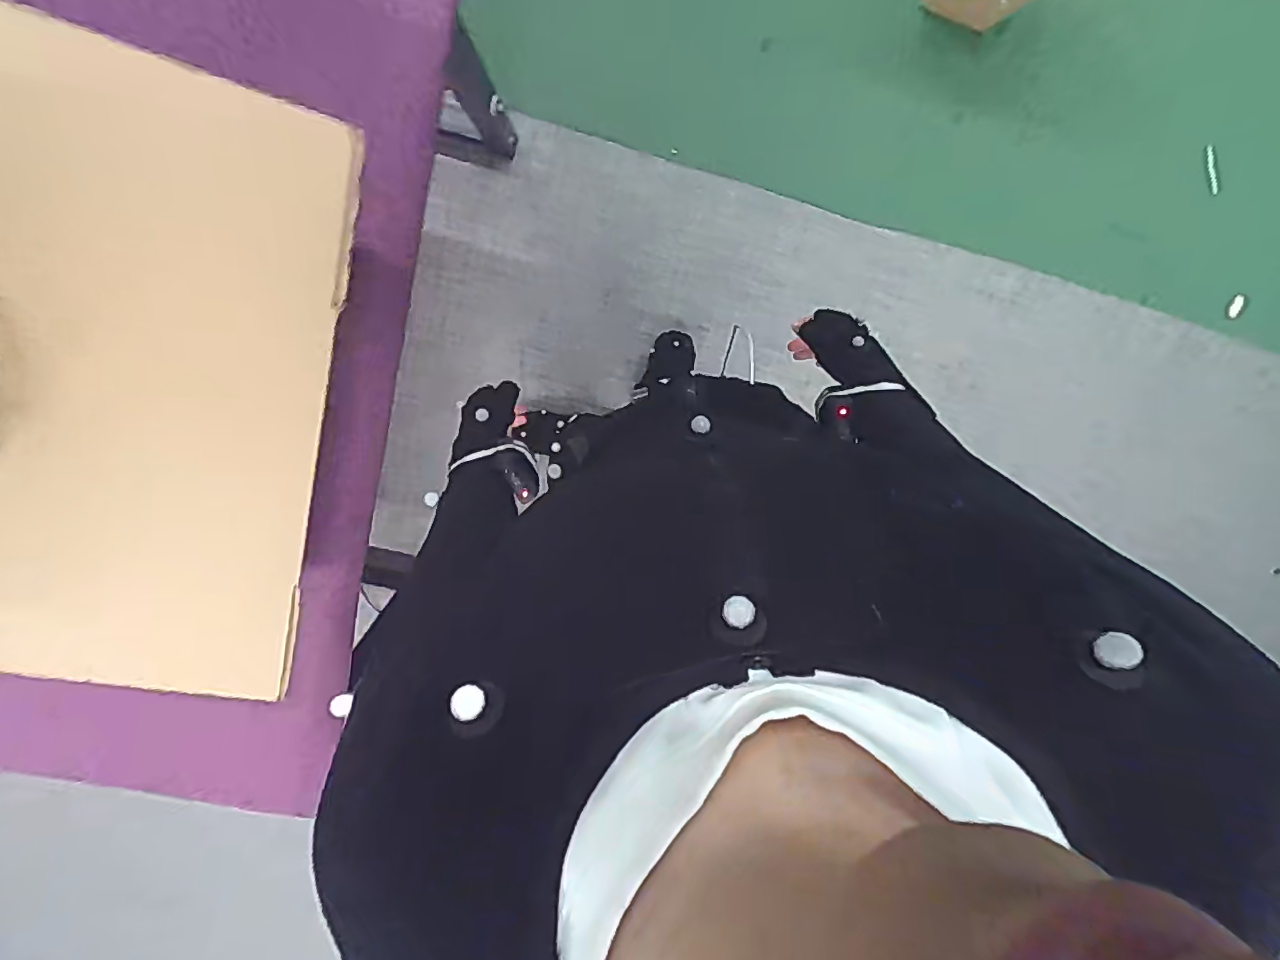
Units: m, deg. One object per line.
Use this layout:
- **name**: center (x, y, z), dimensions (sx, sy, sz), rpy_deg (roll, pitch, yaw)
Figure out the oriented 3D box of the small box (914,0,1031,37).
- **small box**: center (0.730, -1.091, 1.147), dimensions (0.179, 0.176, 0.168), rpy_deg (14, 104, -9)
